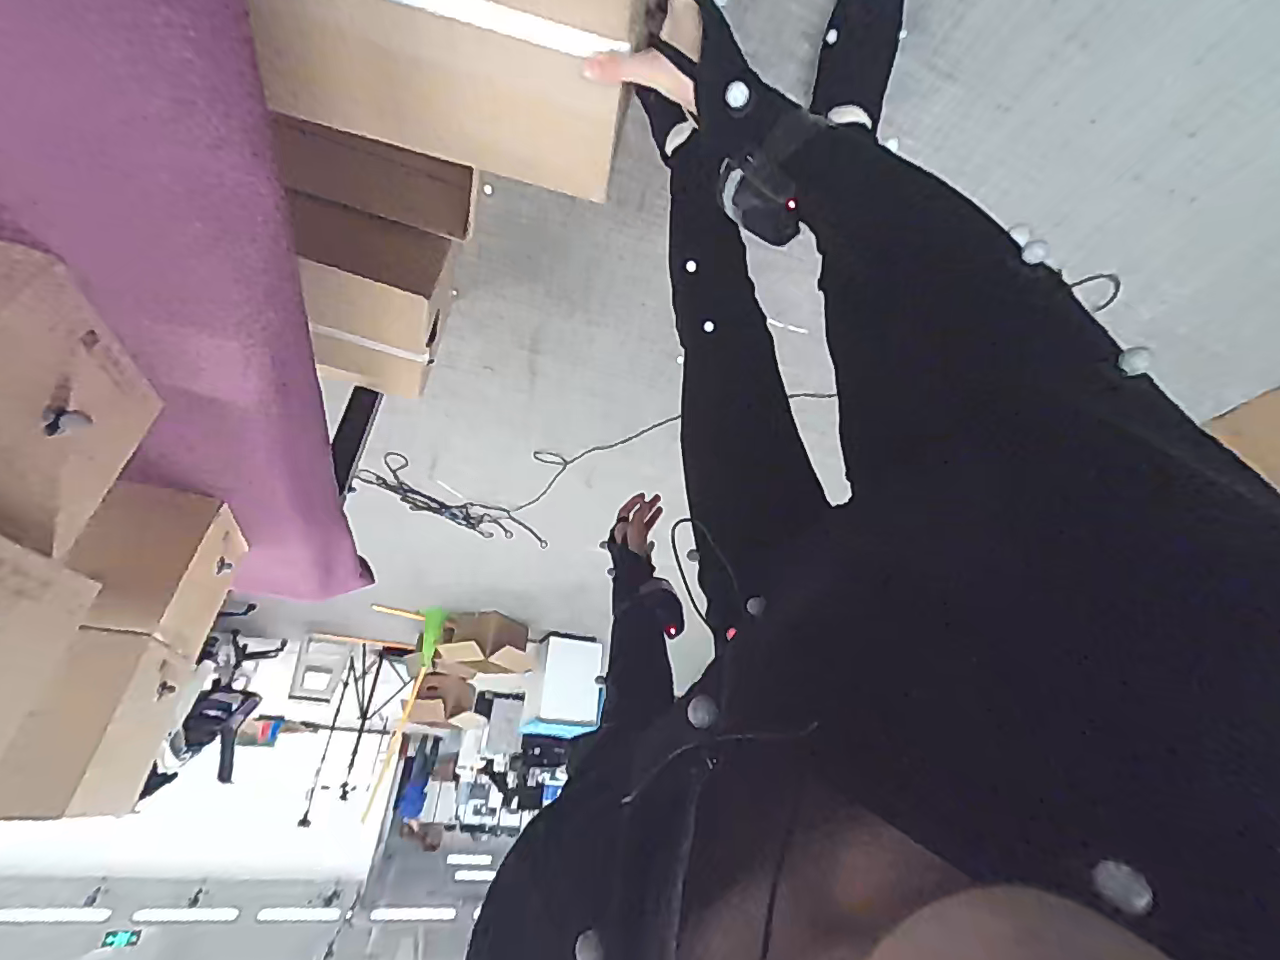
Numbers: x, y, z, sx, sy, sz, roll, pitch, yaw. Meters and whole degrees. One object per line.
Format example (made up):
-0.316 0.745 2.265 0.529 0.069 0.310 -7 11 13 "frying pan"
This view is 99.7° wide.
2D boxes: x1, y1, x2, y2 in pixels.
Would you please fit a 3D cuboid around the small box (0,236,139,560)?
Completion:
-0.482 -0.062 0.348 0.179 0.176 0.168 12 147 -13 "small box"

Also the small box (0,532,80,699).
-0.472 0.087 0.273 0.179 0.176 0.168 9 149 -8 "small box"

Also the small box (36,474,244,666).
-0.611 0.105 0.635 0.179 0.176 0.168 14 146 -18 "small box"
